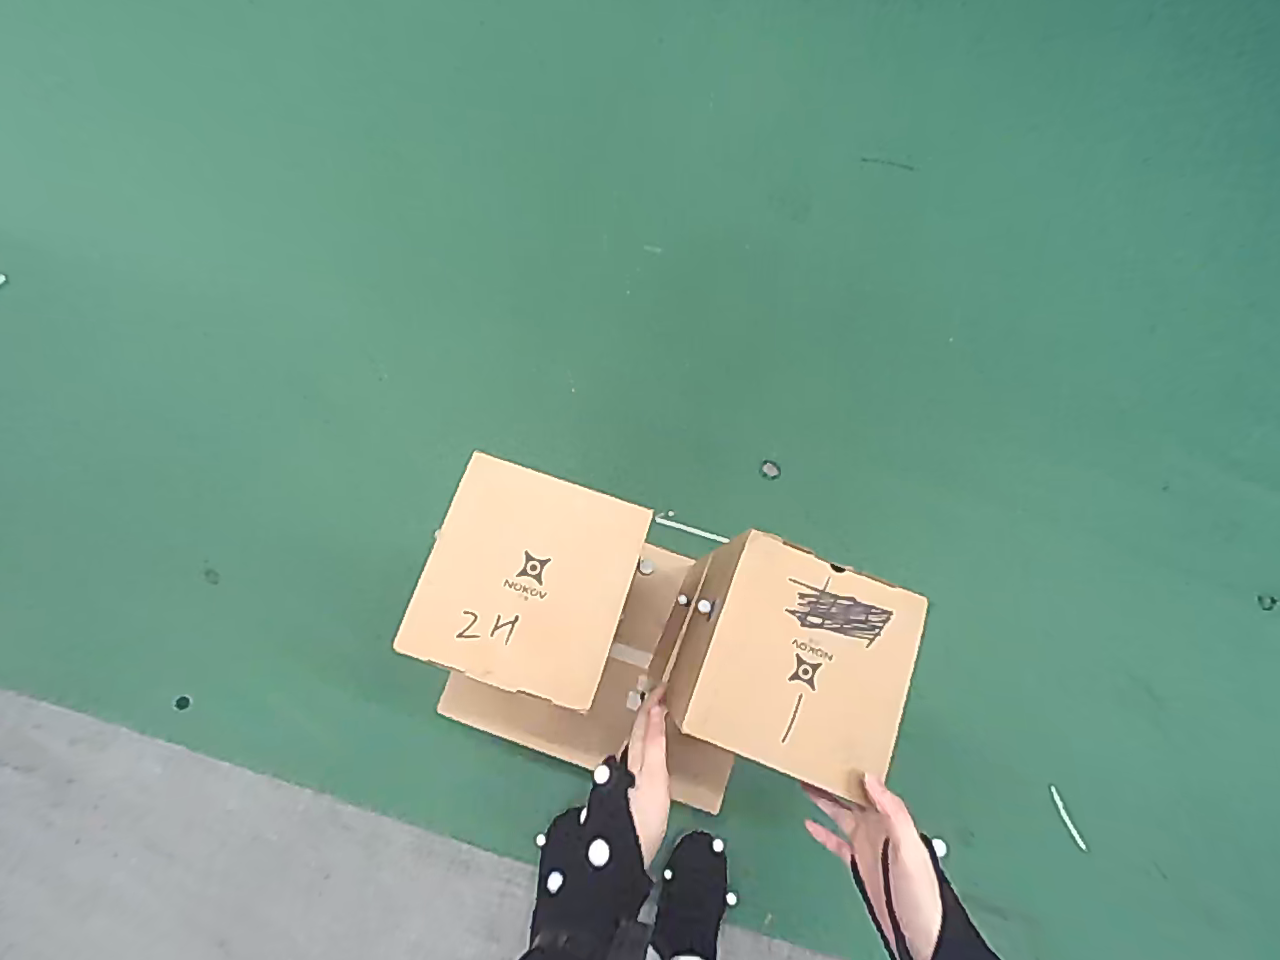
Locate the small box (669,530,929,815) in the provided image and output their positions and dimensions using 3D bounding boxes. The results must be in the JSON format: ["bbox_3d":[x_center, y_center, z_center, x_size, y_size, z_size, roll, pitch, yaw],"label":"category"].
[{"bbox_3d":[0.133,0.168,0.512,0.168,0.176,0.179,21,76,3],"label":"small box"}]

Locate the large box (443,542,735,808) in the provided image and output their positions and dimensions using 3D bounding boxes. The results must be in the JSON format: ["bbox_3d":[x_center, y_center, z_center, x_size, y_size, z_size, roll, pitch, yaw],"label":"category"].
[{"bbox_3d":[-0.044,0.272,0.898,0.408,0.320,0.320,19,76,0],"label":"large box"}]

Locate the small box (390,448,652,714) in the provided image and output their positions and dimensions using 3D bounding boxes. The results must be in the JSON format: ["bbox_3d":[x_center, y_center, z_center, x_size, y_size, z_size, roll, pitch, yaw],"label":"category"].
[{"bbox_3d":[-0.099,0.096,0.517,0.168,0.176,0.179,19,75,1],"label":"small box"}]

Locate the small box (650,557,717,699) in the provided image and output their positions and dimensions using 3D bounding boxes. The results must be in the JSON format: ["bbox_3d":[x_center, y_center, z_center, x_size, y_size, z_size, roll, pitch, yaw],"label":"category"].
[{"bbox_3d":[0.124,0.210,0.673,0.179,0.176,0.168,23,76,4],"label":"small box"}]
